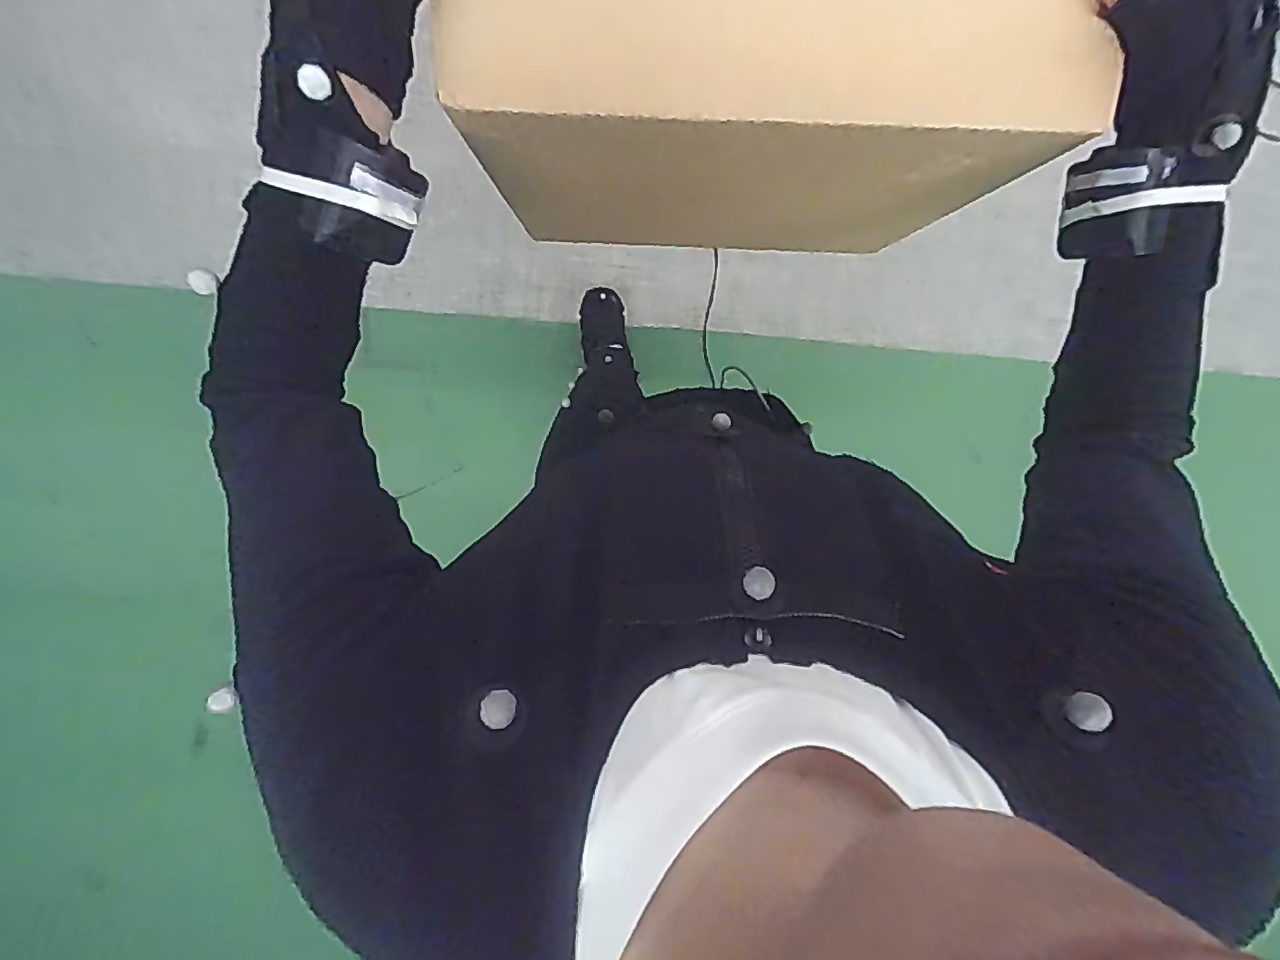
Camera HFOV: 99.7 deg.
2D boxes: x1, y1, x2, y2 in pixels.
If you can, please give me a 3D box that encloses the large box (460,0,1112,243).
[{"bbox_3d":[0.084,-0.401,0.456,0.408,0.320,0.320,0,101,-2],"label":"large box"}]
